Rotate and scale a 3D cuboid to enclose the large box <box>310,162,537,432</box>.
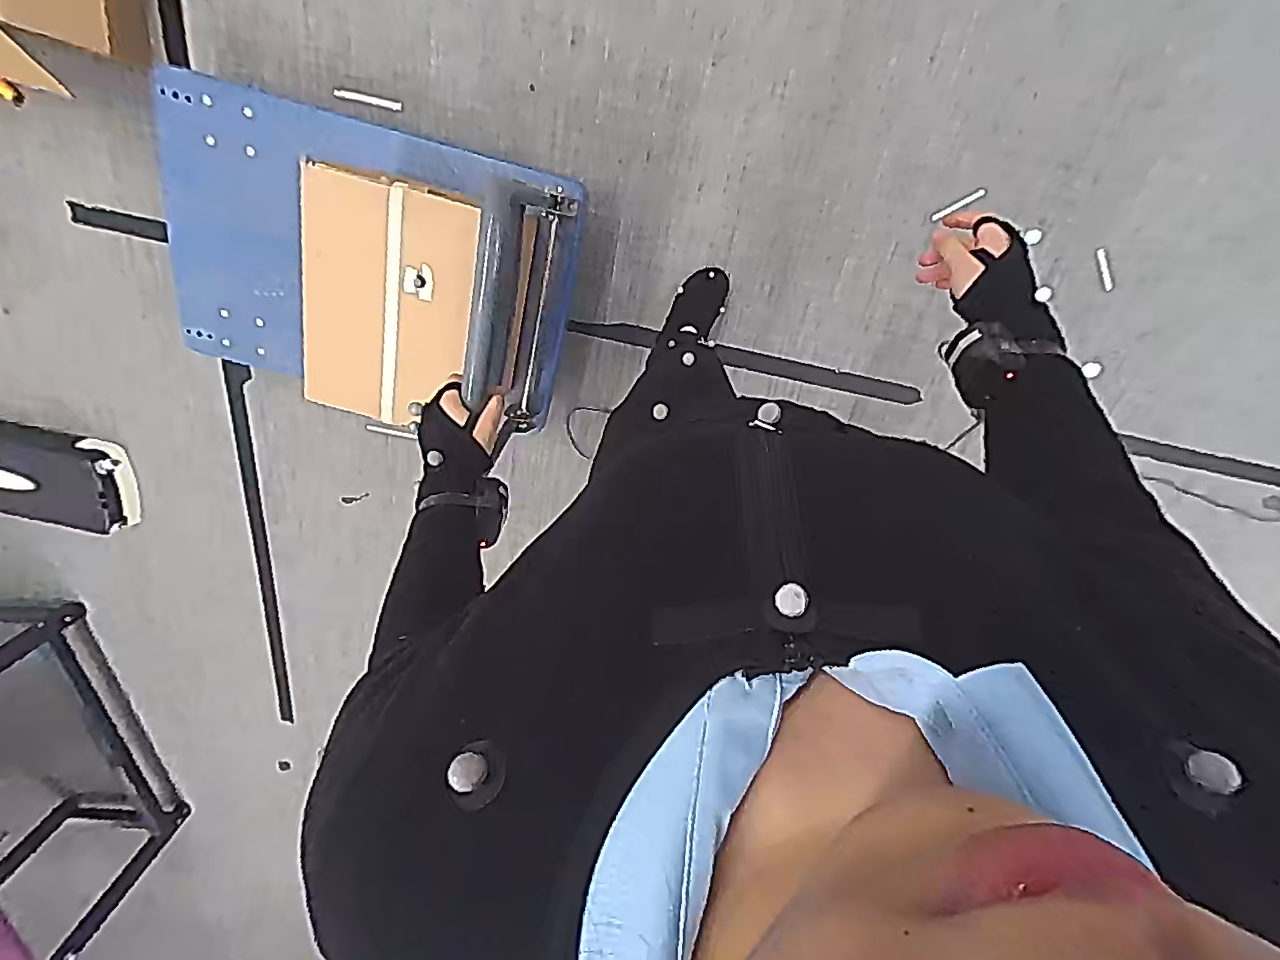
[{"bbox_3d":[-0.413,-0.357,1.082,0.320,0.320,0.408,13,114,-4],"label":"large box"}]
